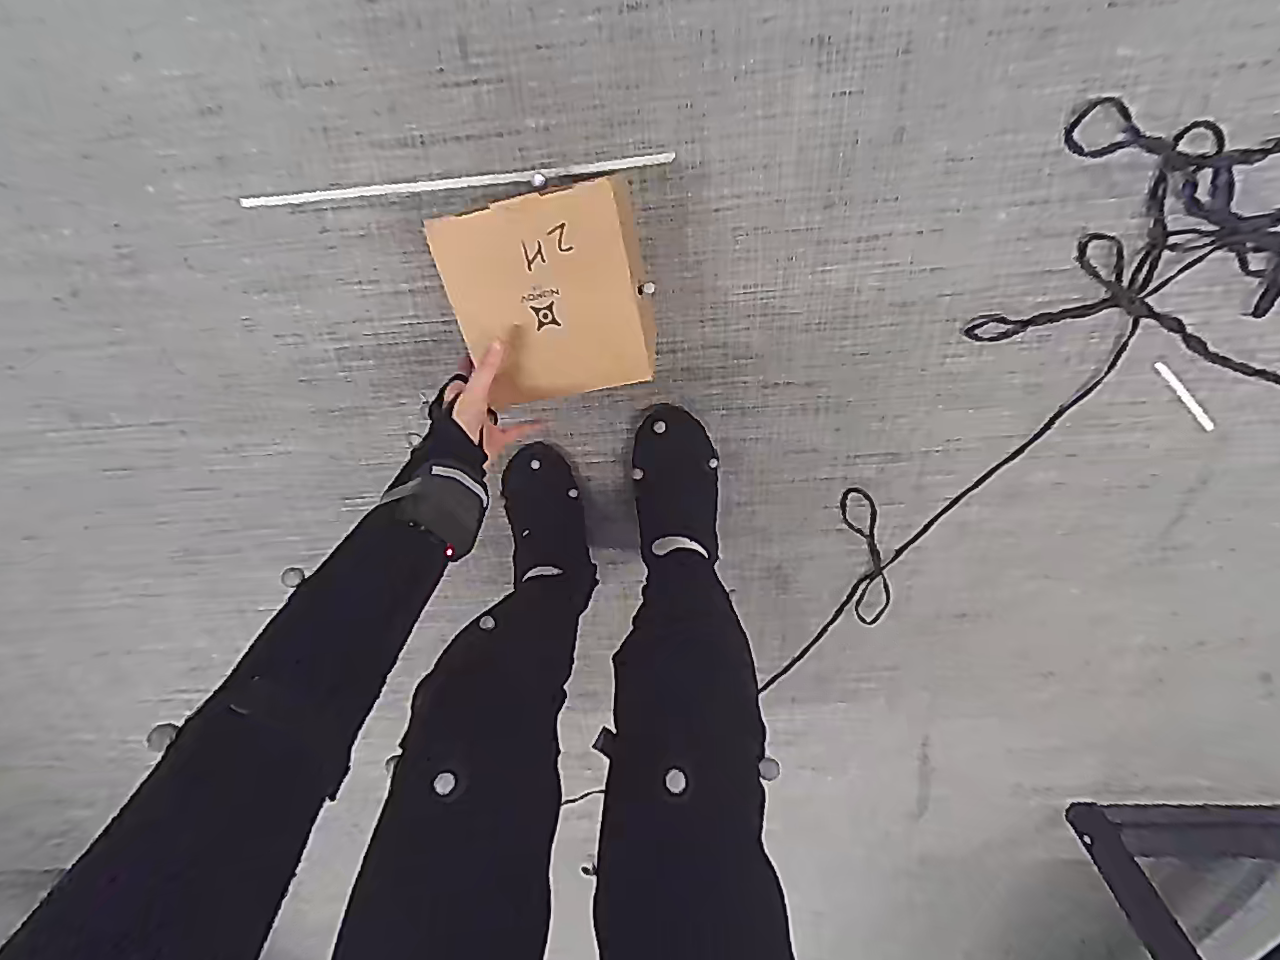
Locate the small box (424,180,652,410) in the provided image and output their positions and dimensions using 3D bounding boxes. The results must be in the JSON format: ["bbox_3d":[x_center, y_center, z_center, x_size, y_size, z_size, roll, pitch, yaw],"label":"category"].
[{"bbox_3d":[-0.083,-0.194,0.556,0.168,0.176,0.179,-9,119,8],"label":"small box"}]
